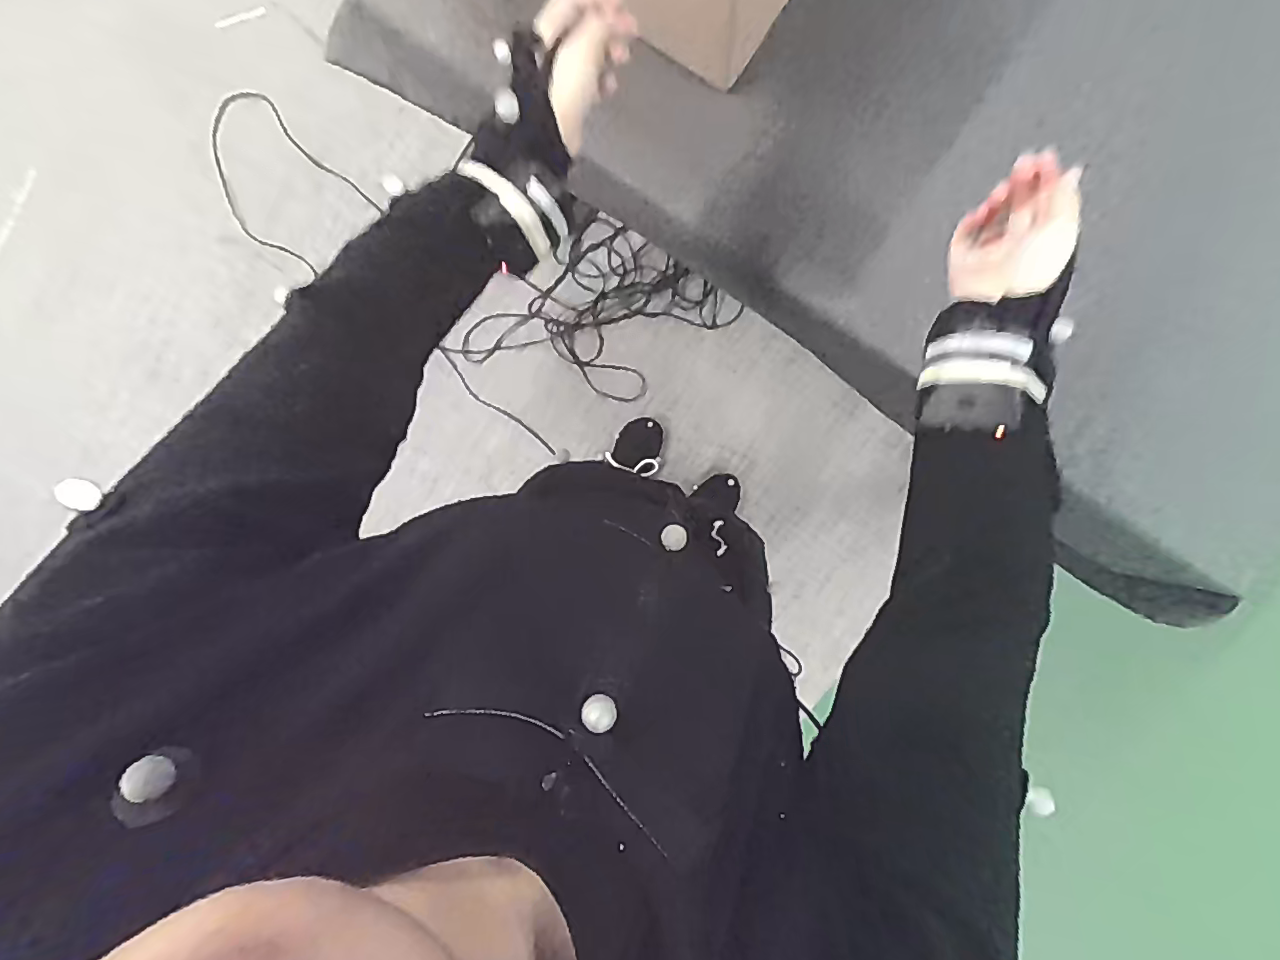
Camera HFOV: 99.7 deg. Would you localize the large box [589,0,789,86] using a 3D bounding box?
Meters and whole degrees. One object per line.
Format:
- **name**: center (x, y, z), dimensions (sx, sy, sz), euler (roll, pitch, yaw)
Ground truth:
- **large box**: center (0.009, -0.651, 0.441), dimensions (0.408, 0.320, 0.320), euler (33, 97, 1)
